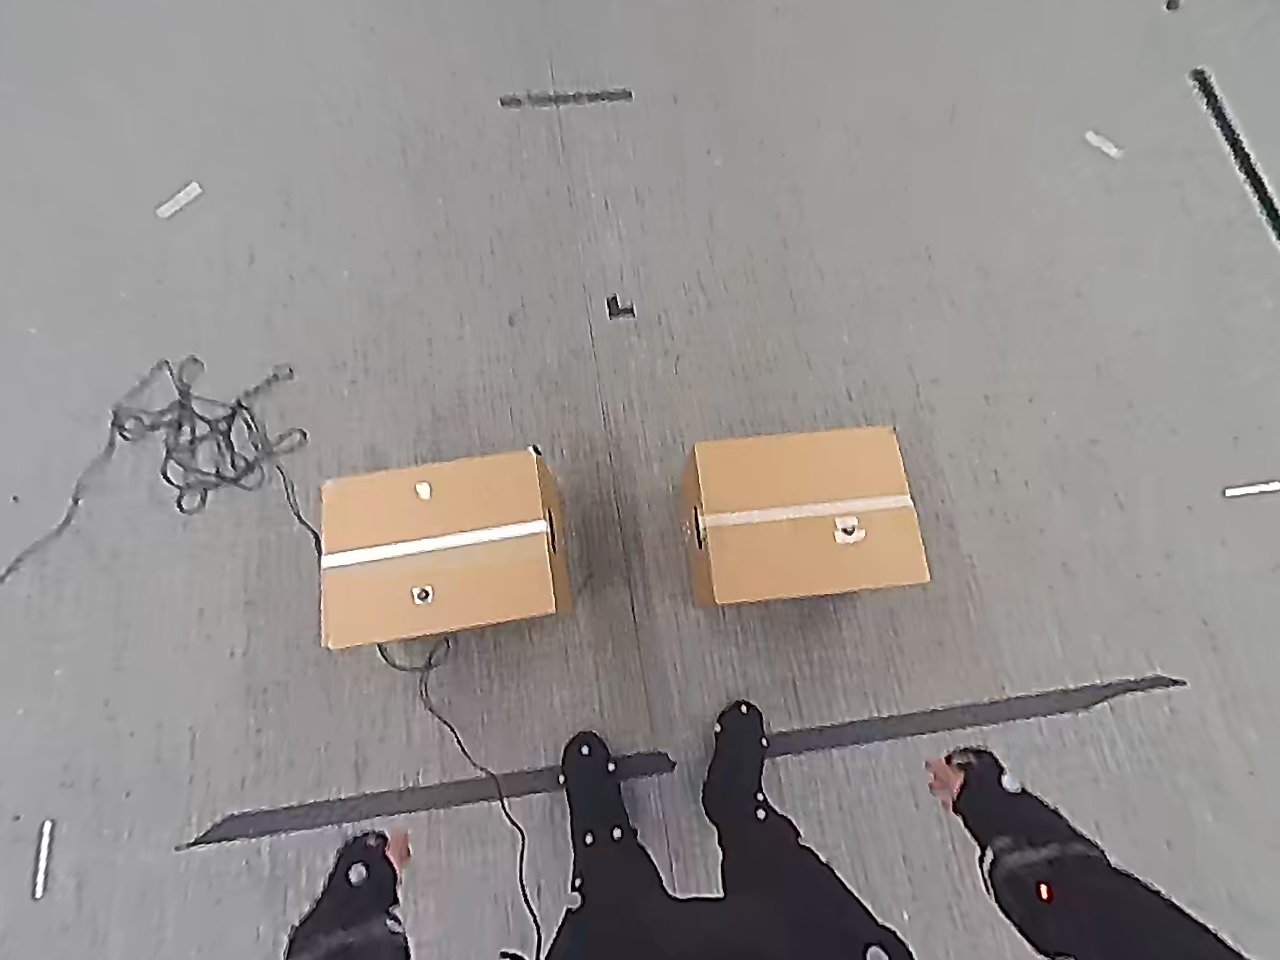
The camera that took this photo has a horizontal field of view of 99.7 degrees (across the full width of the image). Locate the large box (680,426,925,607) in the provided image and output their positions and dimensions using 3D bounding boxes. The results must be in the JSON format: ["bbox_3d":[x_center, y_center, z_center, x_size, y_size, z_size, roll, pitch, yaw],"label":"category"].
[{"bbox_3d":[0.317,0.095,1.179,0.408,0.320,0.320,-5,76,-3],"label":"large box"}]
